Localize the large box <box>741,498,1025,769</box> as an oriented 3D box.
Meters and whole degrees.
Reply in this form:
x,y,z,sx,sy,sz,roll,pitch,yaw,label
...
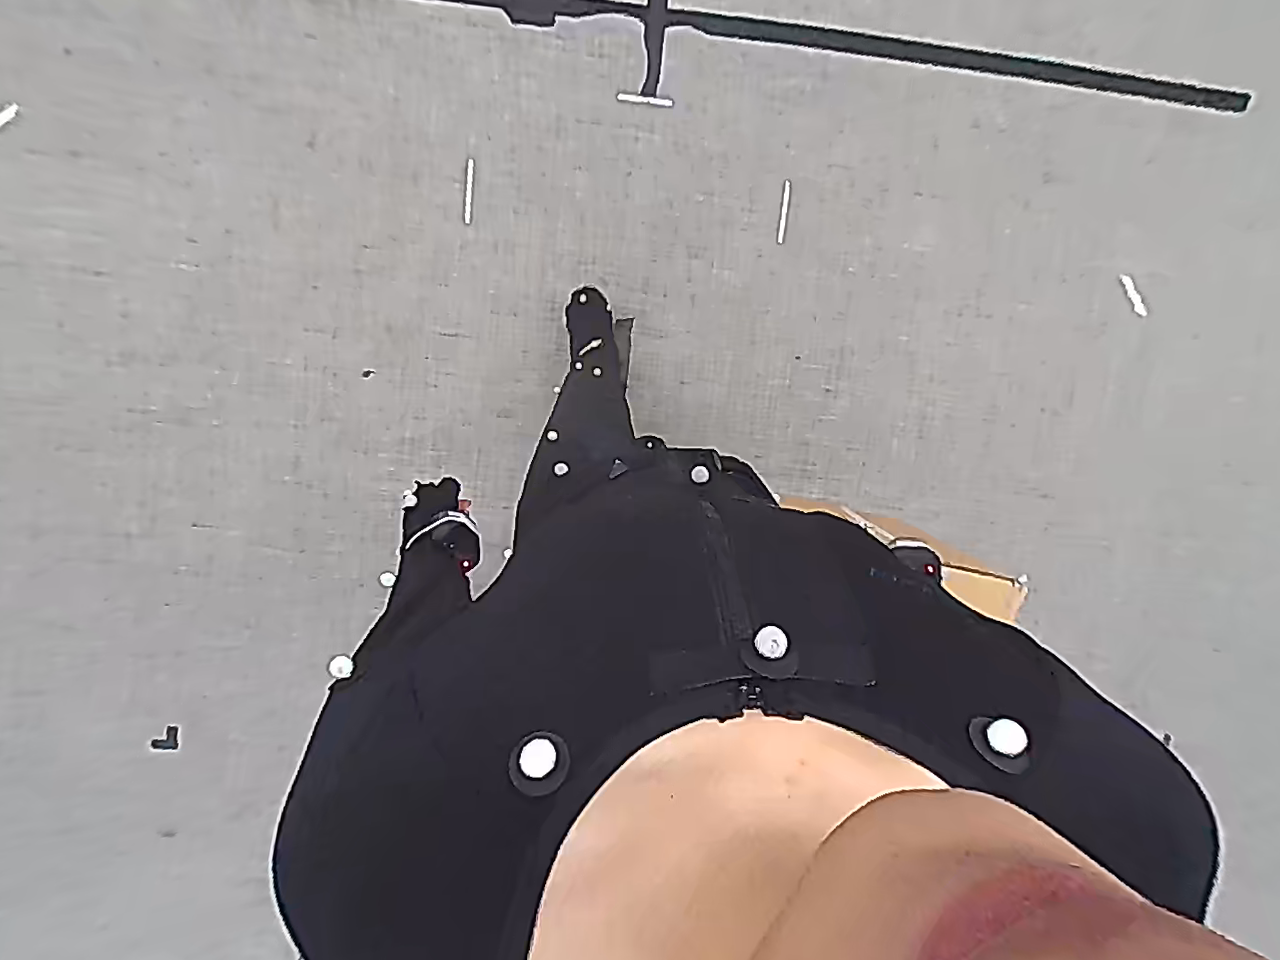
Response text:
x,y,z,sx,sy,sz,roll,pitch,yaw,label
0.394,0.245,1.009,0.320,0.408,0.320,12,99,2,large box
